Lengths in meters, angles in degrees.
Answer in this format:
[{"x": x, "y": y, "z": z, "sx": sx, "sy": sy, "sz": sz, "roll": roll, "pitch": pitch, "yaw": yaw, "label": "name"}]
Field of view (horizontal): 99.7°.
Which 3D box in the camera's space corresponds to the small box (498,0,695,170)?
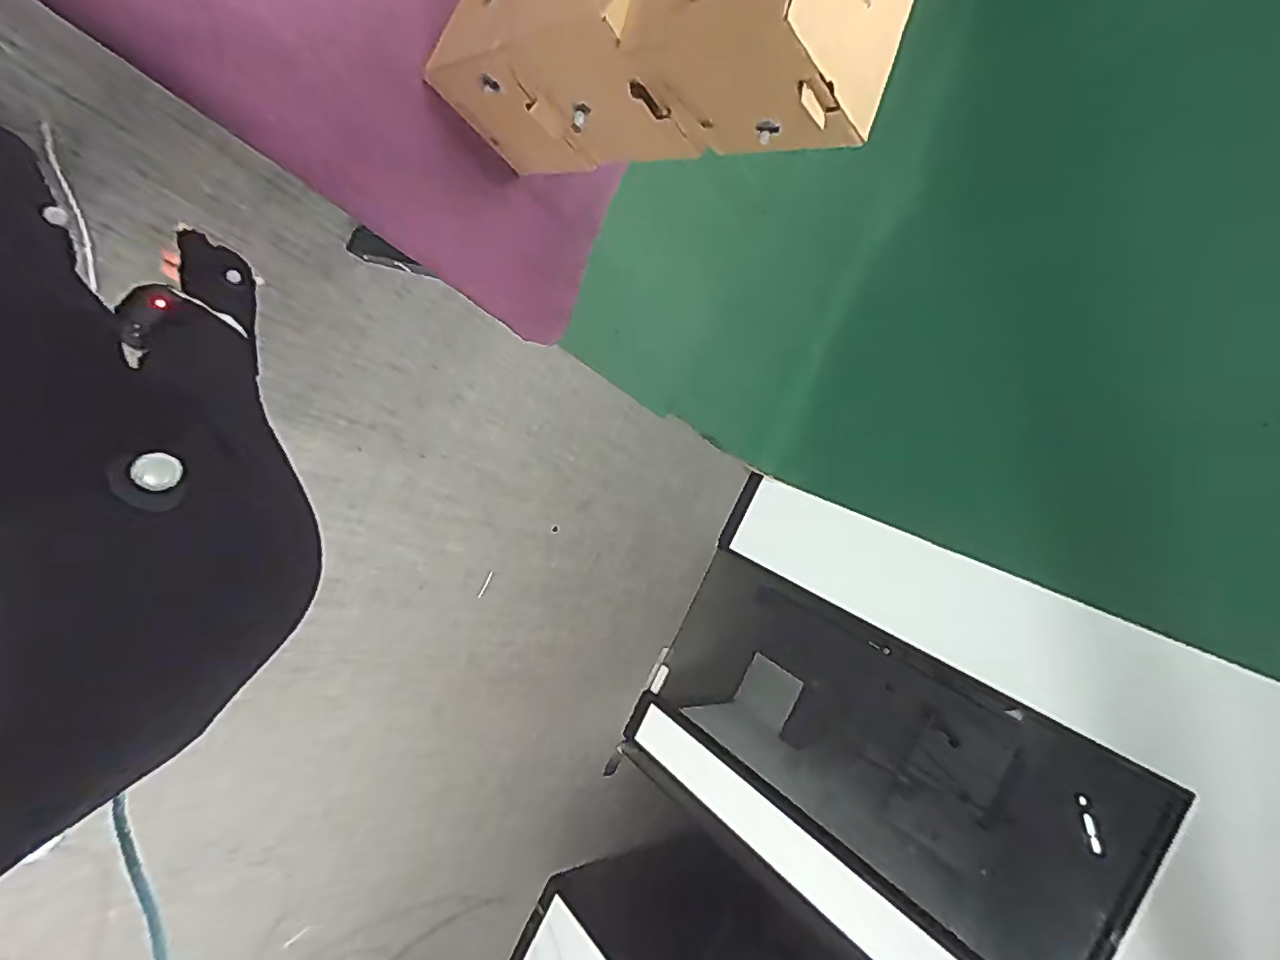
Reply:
[{"x": -0.018, "y": -0.456, "z": 0.562, "sx": 0.168, "sy": 0.176, "sz": 0.179, "roll": 22, "pitch": 92, "yaw": -51, "label": "small box"}]
